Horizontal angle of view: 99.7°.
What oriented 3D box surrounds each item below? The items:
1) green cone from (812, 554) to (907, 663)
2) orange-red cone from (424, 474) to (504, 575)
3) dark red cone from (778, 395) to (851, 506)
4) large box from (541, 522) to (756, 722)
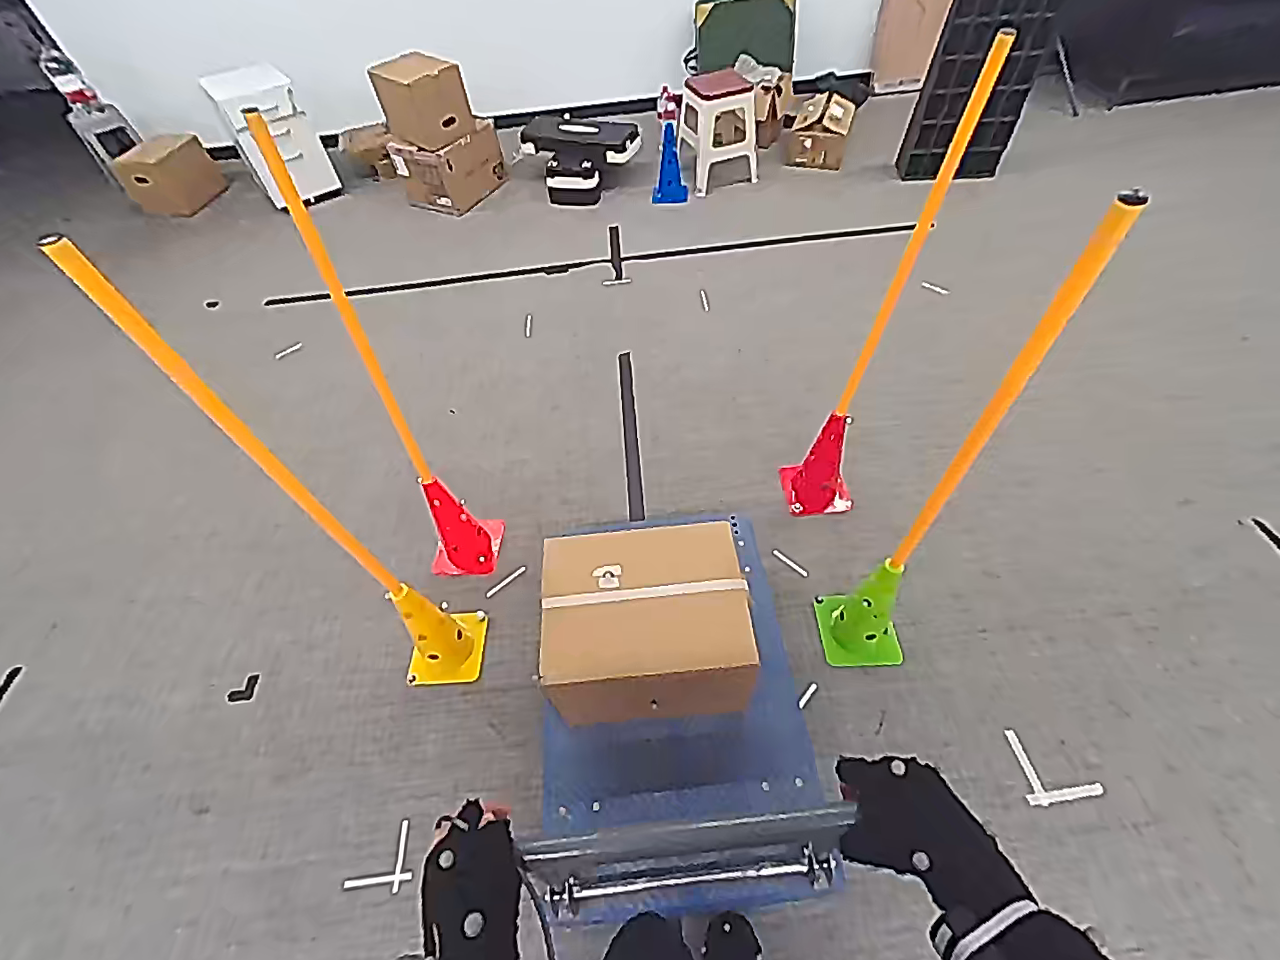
[{"bbox_3d":[0.580,0.296,1.346,0.202,0.368,0.200,-2,52,2],"label":"green cone"},{"bbox_3d":[-0.556,0.105,1.594,0.198,0.360,0.199,0,51,4],"label":"orange-red cone"},{"bbox_3d":[0.559,-0.098,1.630,0.201,0.394,0.202,-5,53,-1],"label":"dark red cone"},{"bbox_3d":[0.016,0.322,1.193,0.408,0.320,0.320,-6,52,1],"label":"large box"}]
